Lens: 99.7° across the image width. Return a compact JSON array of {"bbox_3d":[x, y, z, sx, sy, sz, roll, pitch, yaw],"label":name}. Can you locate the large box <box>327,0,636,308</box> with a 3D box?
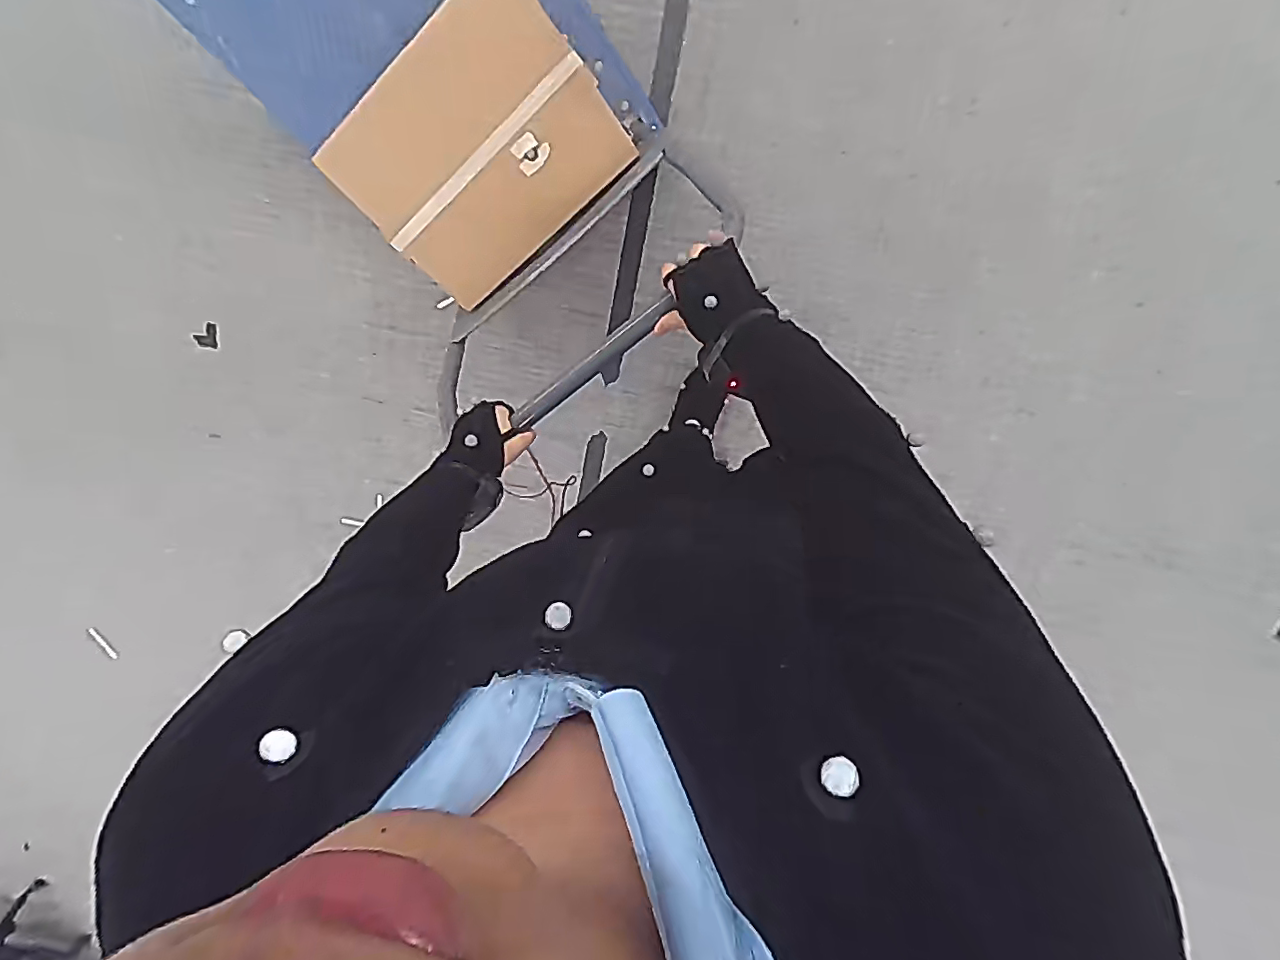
[{"bbox_3d":[-0.268,-0.599,0.986,0.408,0.320,0.320,-37,123,16],"label":"large box"}]
